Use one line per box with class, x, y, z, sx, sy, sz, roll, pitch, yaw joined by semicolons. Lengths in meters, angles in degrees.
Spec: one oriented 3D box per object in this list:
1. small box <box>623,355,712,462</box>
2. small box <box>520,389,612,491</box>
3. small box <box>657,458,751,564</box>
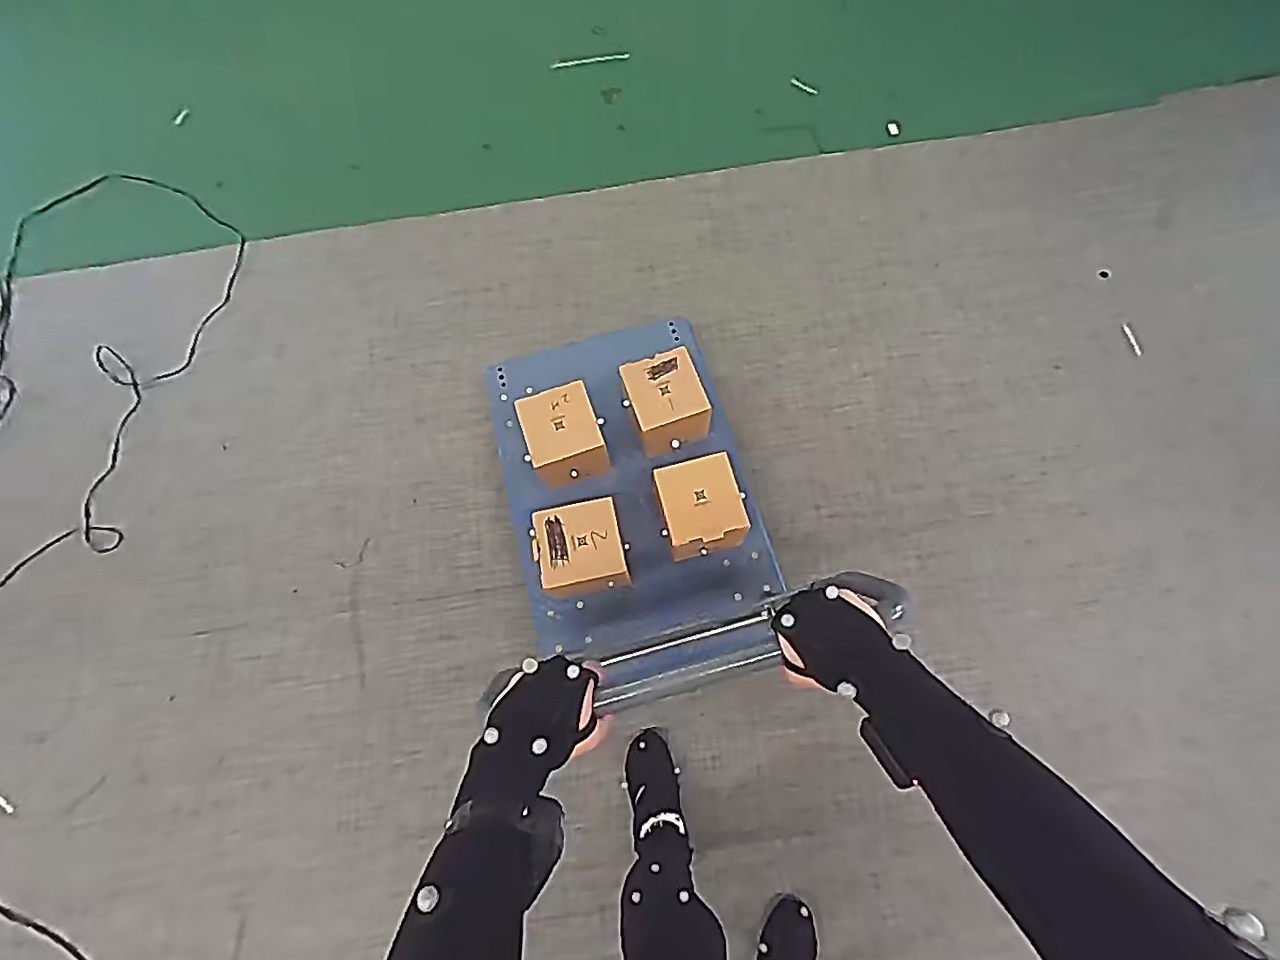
small box;0.065;-0.170;1.322;0.168;0.176;0.179;-19;72;-3
small box;-0.172;-0.086;1.306;0.168;0.176;0.179;-19;71;-4
small box;0.137;0.076;1.234;0.168;0.176;0.179;-15;71;-2
